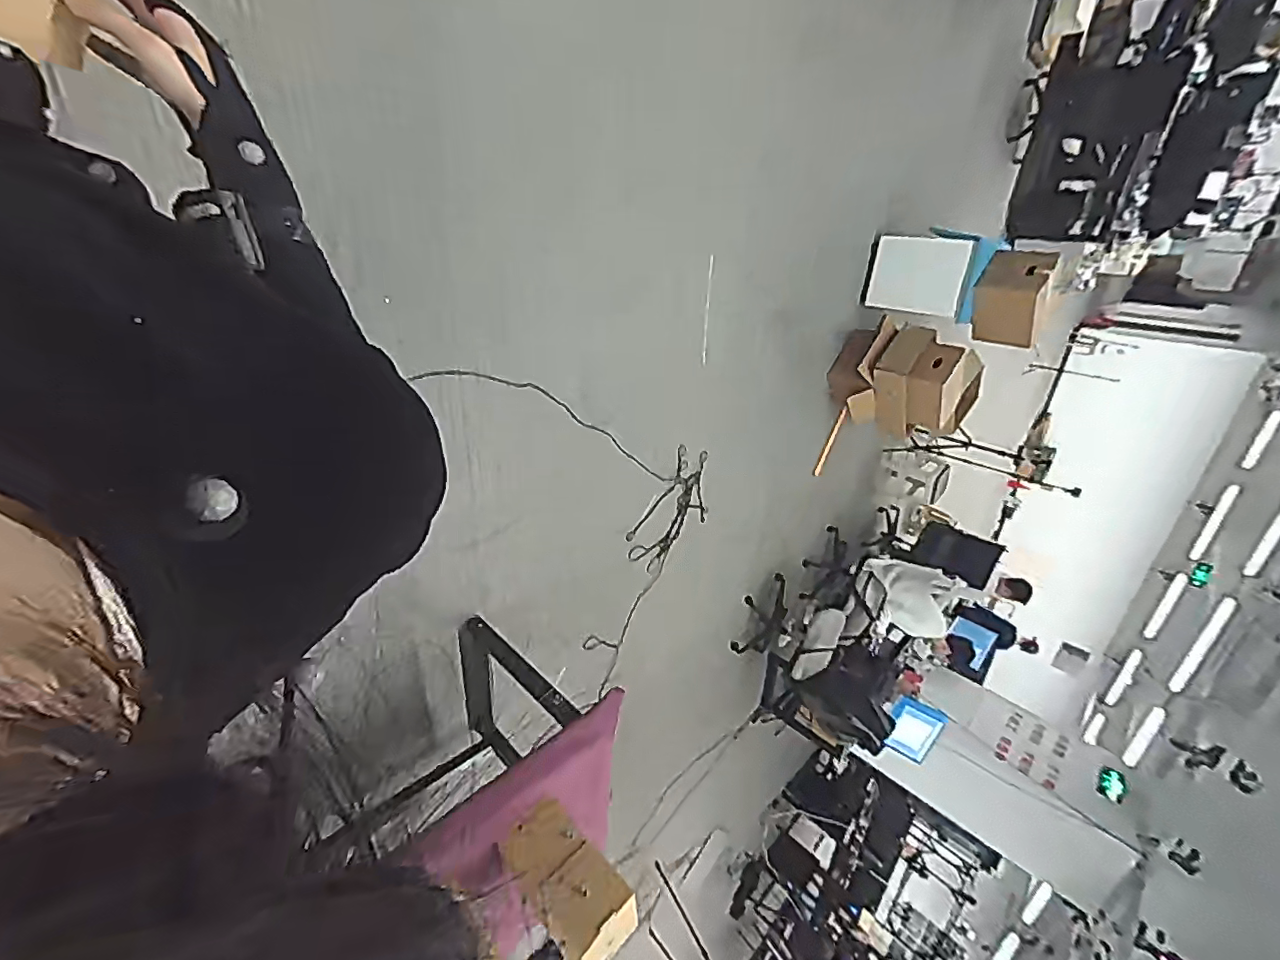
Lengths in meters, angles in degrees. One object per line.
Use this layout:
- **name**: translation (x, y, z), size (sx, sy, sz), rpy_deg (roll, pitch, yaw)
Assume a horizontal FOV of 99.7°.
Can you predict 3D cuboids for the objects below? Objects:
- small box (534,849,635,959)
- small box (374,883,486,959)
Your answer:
- **small box**: translation (-0.132, 1.018, 1.270), size (0.168, 0.176, 0.179), rpy_deg (-28, 128, -36)
- **small box**: translation (-0.451, 1.049, 1.189), size (0.179, 0.176, 0.168), rpy_deg (-27, 128, -37)
